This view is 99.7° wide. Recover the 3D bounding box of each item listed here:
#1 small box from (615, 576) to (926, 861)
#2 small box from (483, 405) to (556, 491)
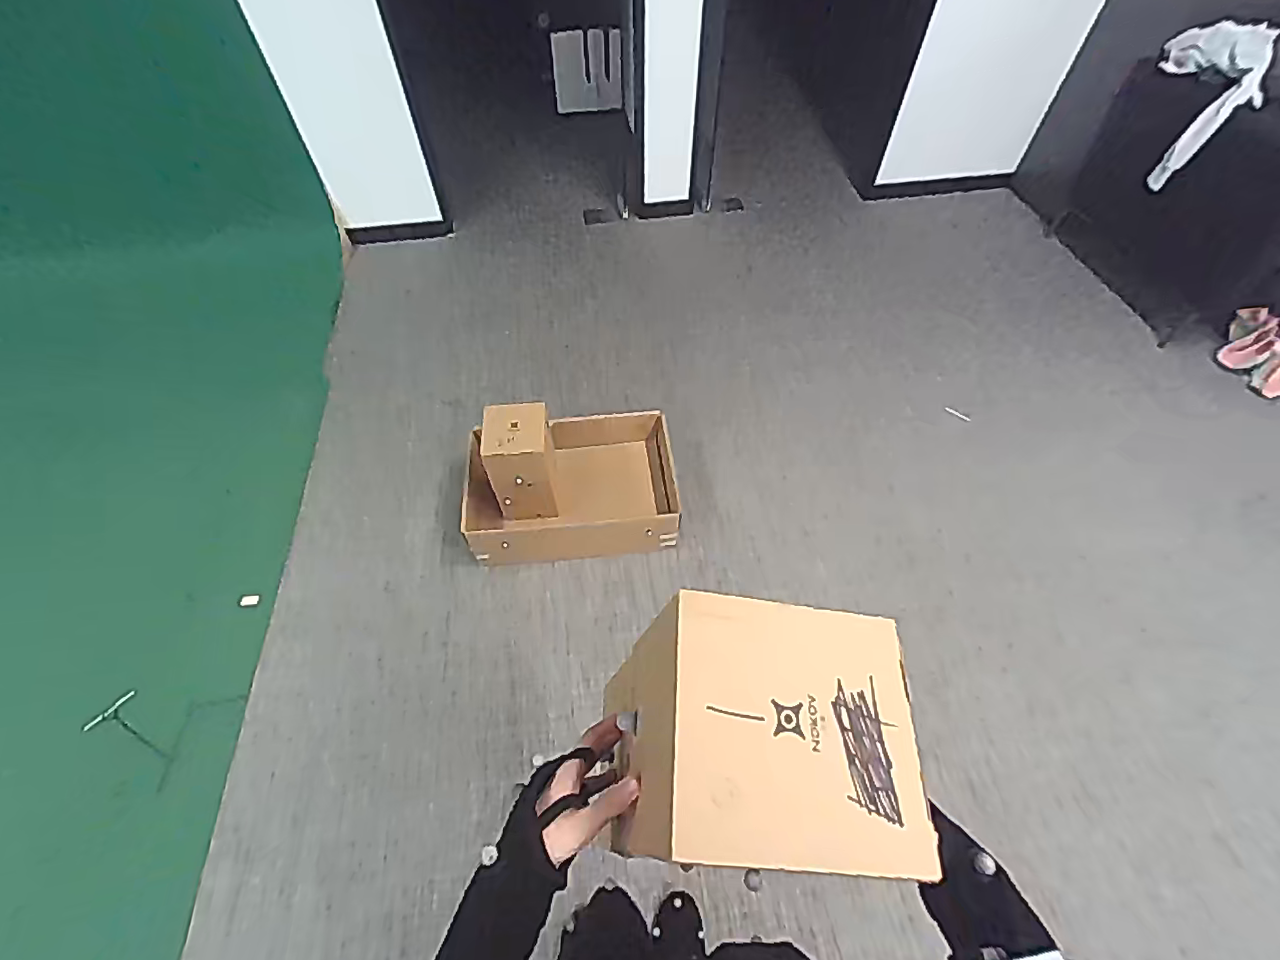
[{"bbox_3d":[0.085,0.195,0.435,0.179,0.176,0.168,10,56,-7],"label":"small box"},{"bbox_3d":[-0.330,-0.088,1.510,0.168,0.176,0.179,-4,55,-1],"label":"small box"}]
